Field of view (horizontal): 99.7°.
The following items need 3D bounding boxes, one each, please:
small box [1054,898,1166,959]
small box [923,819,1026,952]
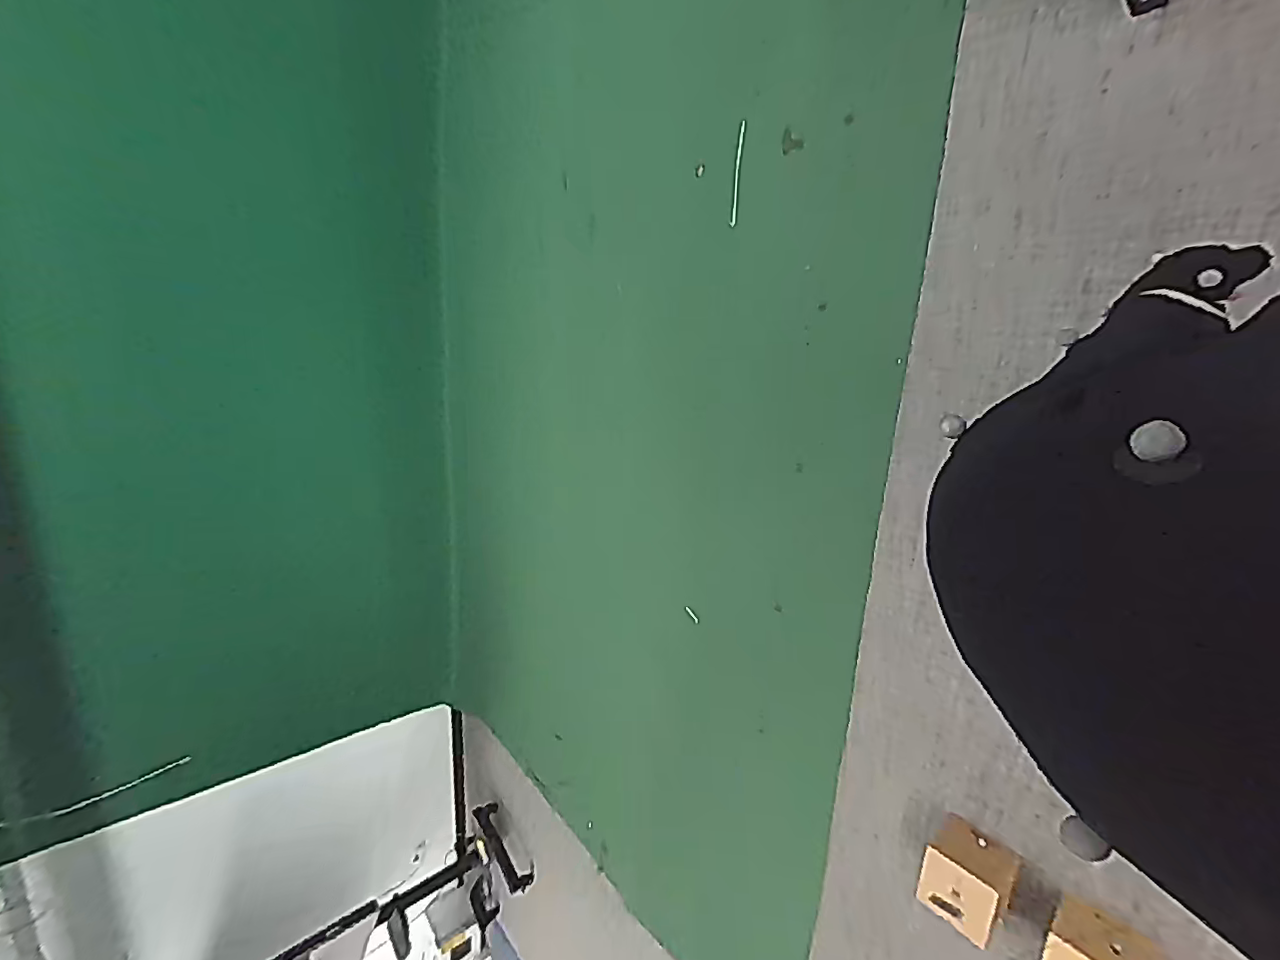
[{"bbox_3d":[1.029,1.090,1.194,0.168,0.176,0.179,17,109,48],"label":"small box"},{"bbox_3d":[0.859,1.028,1.386,0.168,0.176,0.179,18,108,47],"label":"small box"}]
